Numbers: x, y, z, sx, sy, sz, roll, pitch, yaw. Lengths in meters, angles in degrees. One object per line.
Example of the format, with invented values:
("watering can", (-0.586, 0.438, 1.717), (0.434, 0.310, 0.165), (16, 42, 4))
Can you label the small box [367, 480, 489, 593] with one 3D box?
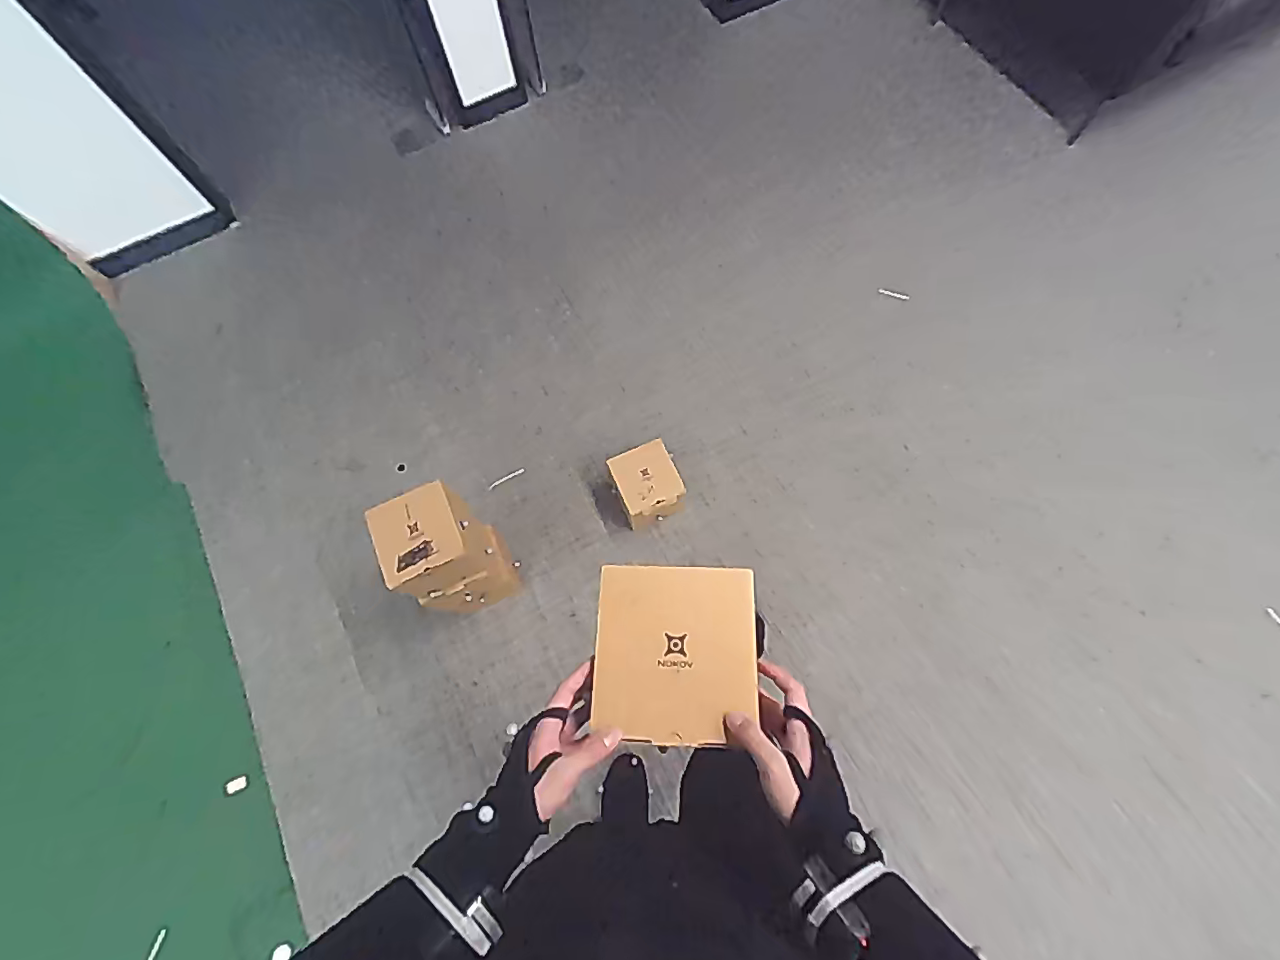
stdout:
("small box", (-0.444, 0.130, 1.155), (0.168, 0.176, 0.179), (-24, 72, -6))

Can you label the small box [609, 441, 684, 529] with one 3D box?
("small box", (0.019, 0.019, 1.524), (0.168, 0.176, 0.179), (-17, 72, -2))

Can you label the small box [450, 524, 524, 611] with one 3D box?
("small box", (-0.436, 0.244, 1.463), (0.179, 0.176, 0.168), (-22, 72, -6))

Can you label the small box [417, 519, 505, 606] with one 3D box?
("small box", (-0.444, 0.195, 1.307), (0.168, 0.176, 0.179), (-23, 73, -6))
